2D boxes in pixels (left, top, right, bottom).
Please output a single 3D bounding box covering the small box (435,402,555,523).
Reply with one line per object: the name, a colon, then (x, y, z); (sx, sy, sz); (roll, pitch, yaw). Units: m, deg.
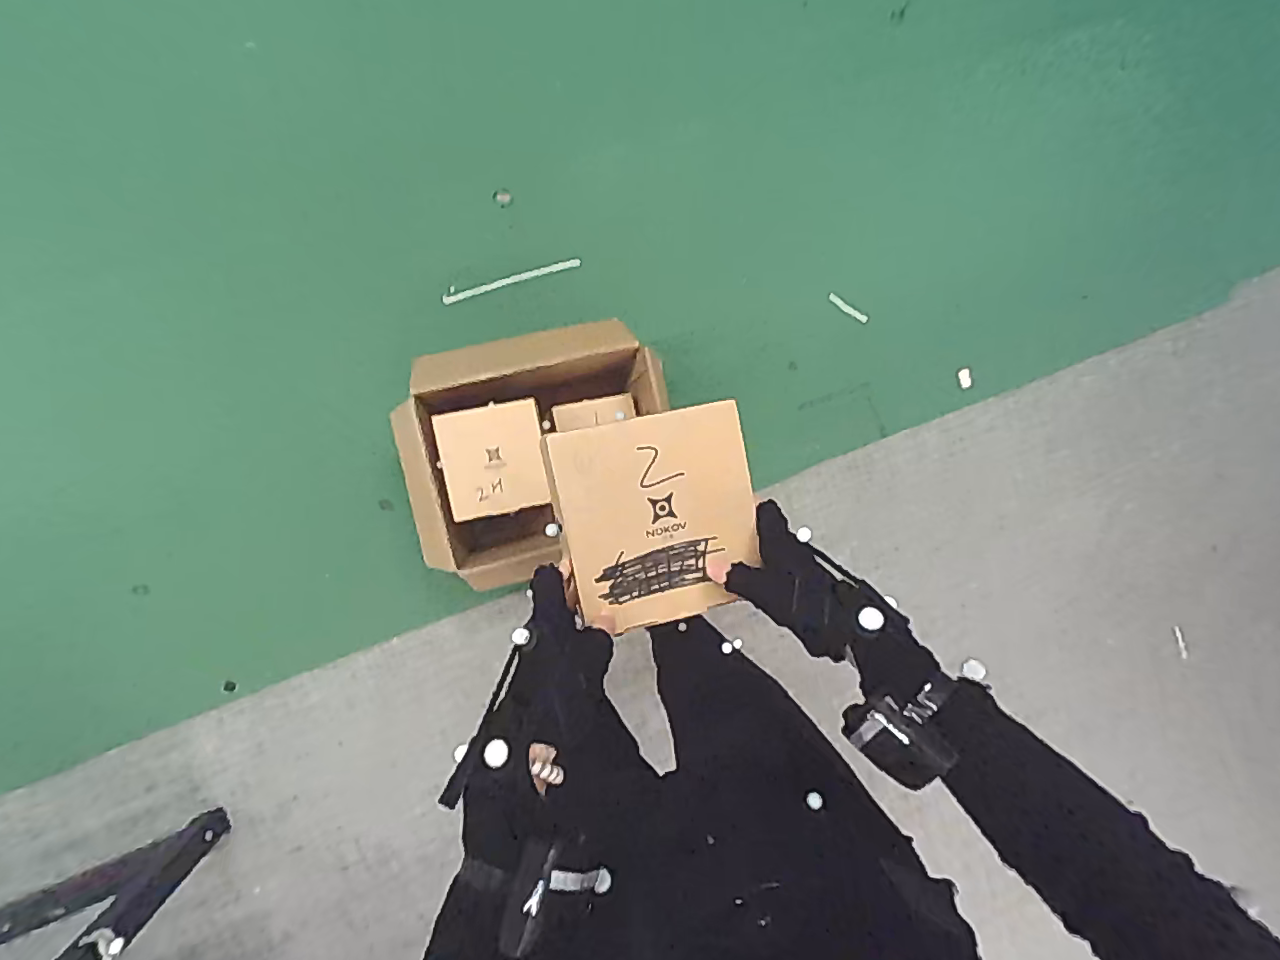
small box: (-0.246, -0.030, 0.951); (0.168, 0.176, 0.179); (-11, 93, -8)
